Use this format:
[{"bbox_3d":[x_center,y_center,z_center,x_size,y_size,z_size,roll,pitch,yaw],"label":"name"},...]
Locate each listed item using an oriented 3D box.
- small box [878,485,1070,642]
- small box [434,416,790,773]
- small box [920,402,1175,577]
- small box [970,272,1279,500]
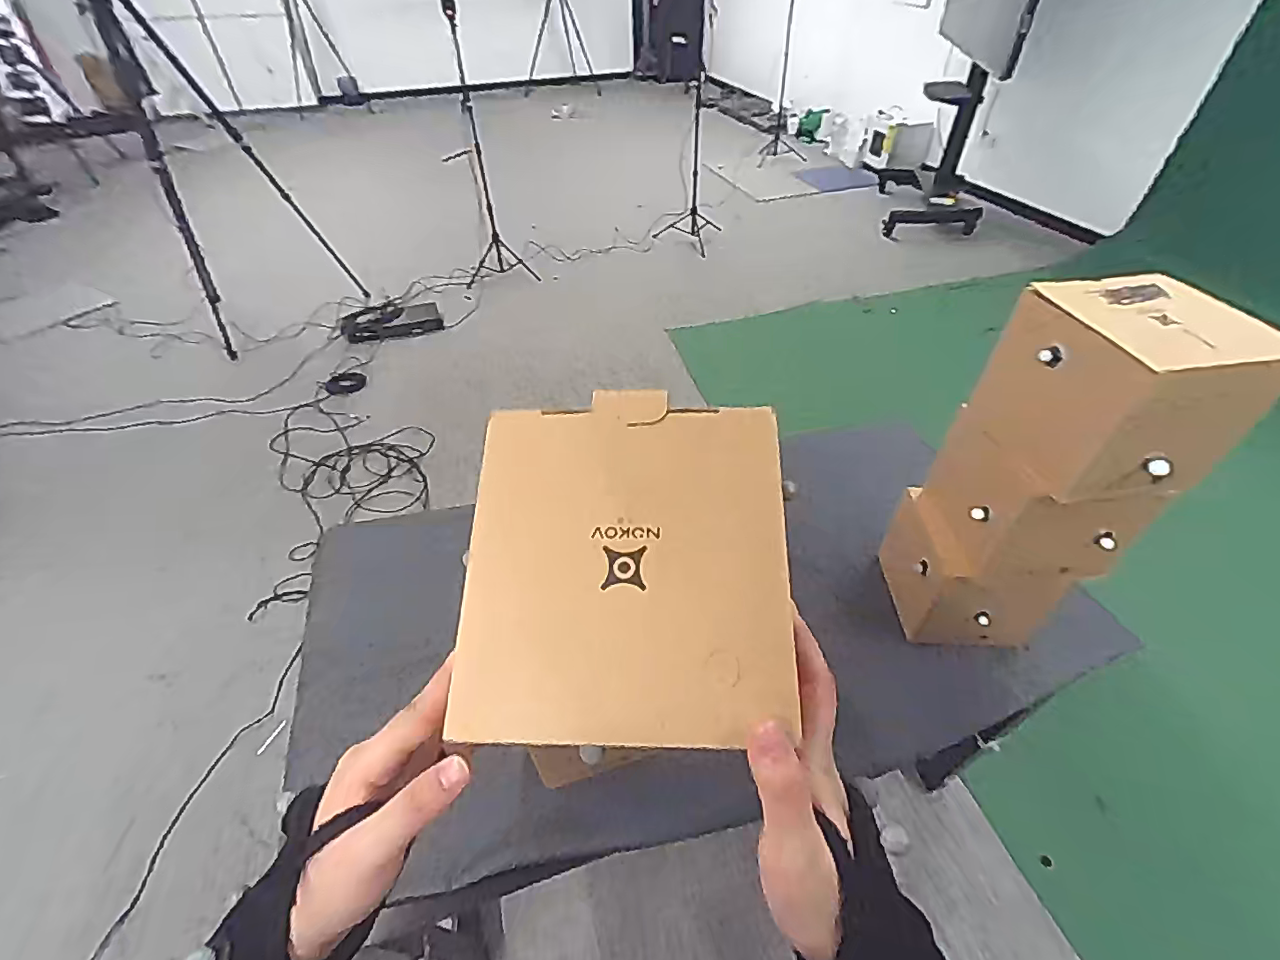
[{"bbox_3d":[0.481,0.127,0.813,0.168,0.176,0.179,1,43,3],"label":"small box"},{"bbox_3d":[-0.006,0.077,0.345,0.168,0.176,0.179,-2,67,4],"label":"small box"},{"bbox_3d":[0.497,0.013,0.697,0.168,0.176,0.179,-2,42,-1],"label":"small box"},{"bbox_3d":[0.501,-0.103,0.580,0.168,0.176,0.179,-7,44,-5],"label":"small box"}]
